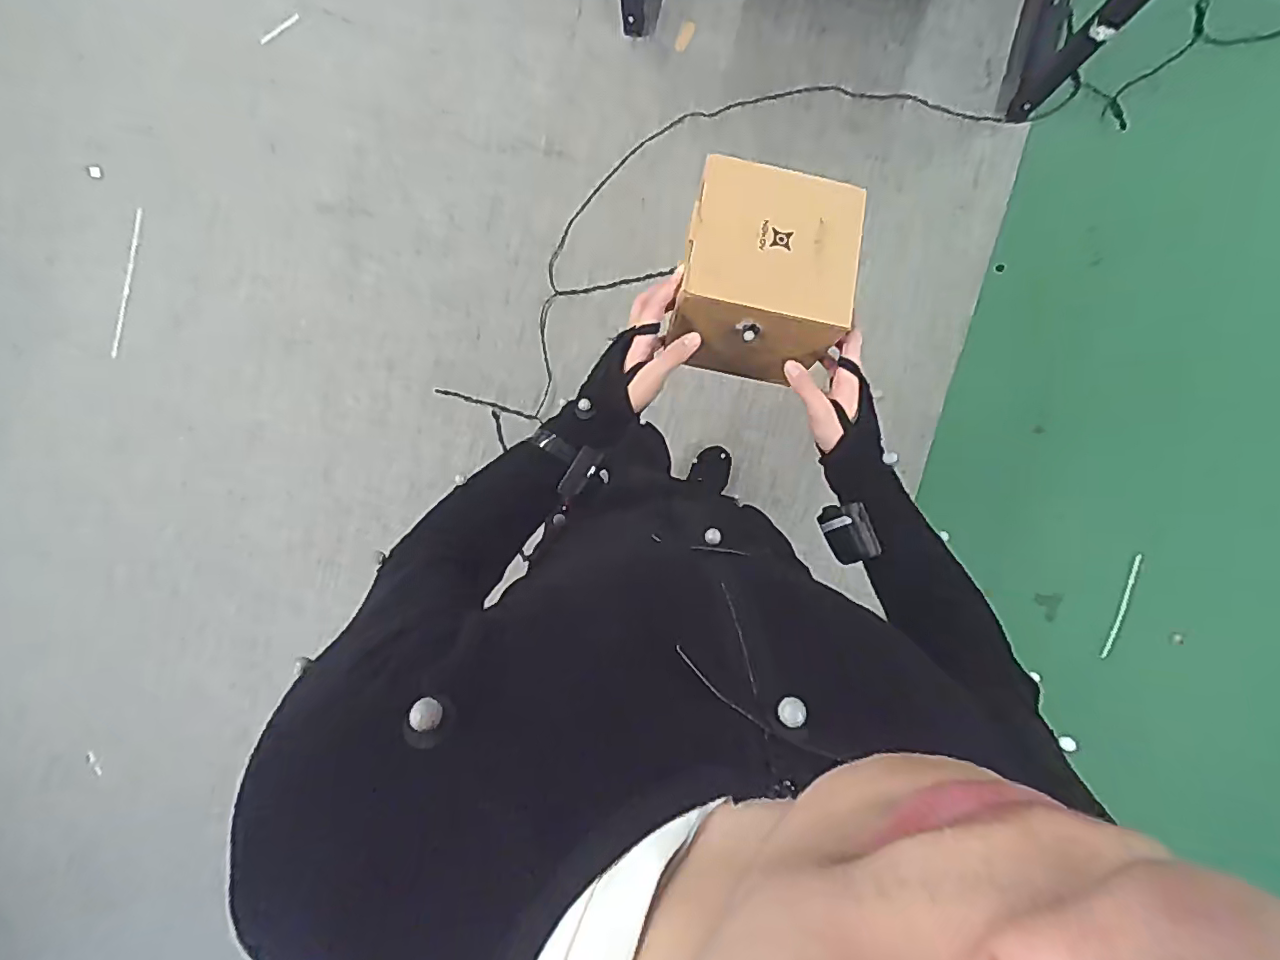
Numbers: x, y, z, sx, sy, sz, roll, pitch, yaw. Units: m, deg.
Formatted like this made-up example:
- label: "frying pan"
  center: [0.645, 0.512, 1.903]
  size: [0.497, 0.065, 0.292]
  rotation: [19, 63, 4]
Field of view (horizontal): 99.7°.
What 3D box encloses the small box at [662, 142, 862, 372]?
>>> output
- label: "small box"
  center: [0.128, -0.242, 0.627]
  size: [0.179, 0.176, 0.168]
  rotation: [12, 78, -2]
